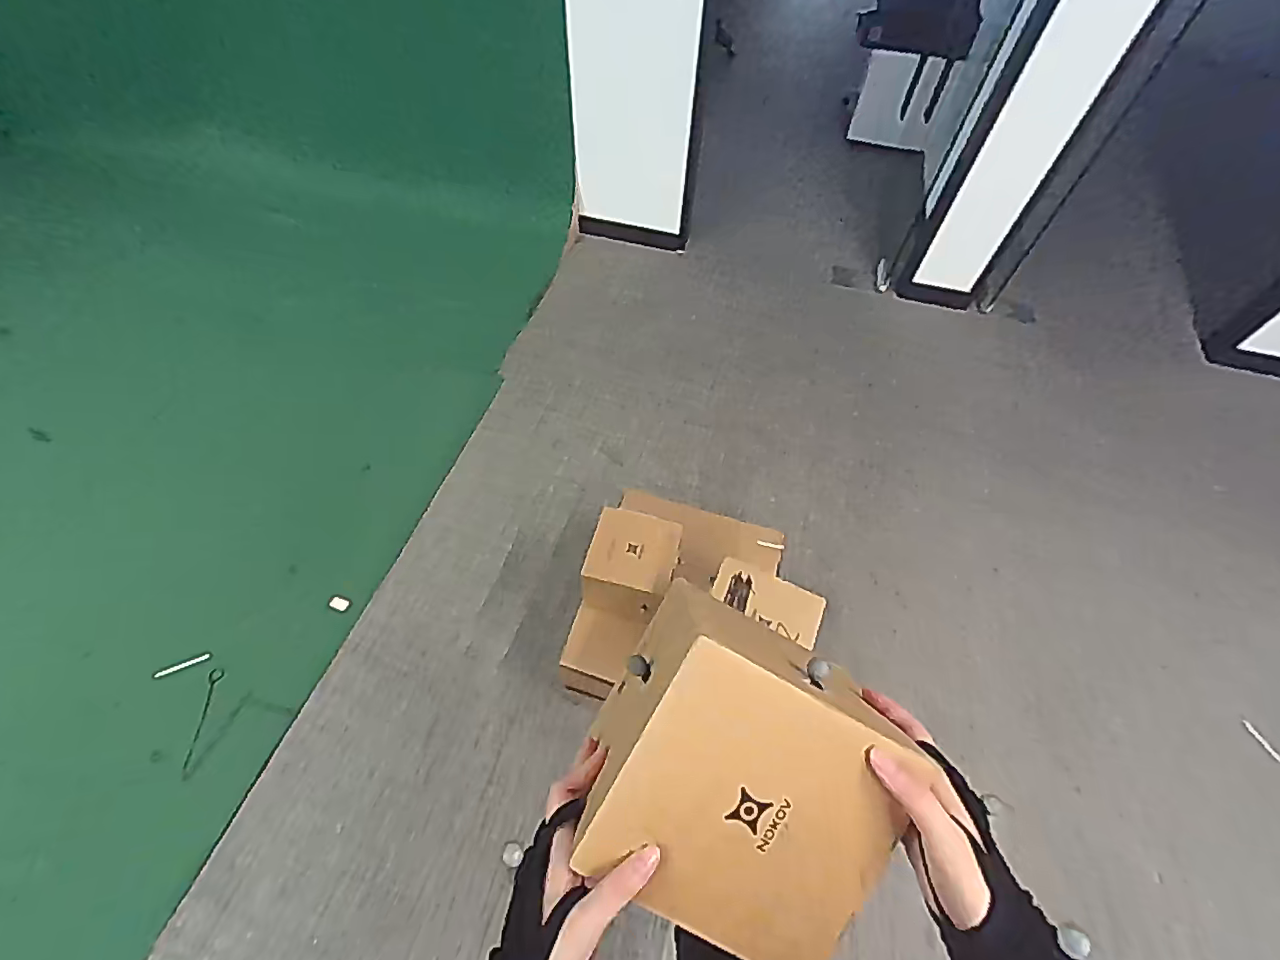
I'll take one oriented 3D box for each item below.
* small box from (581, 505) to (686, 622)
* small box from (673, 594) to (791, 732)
[{"bbox_3d":[-0.013,0.182,1.139,0.179,0.176,0.168,13,55,7],"label":"small box"},{"bbox_3d":[0.169,0.352,1.029,0.168,0.176,0.179,19,56,9],"label":"small box"}]
